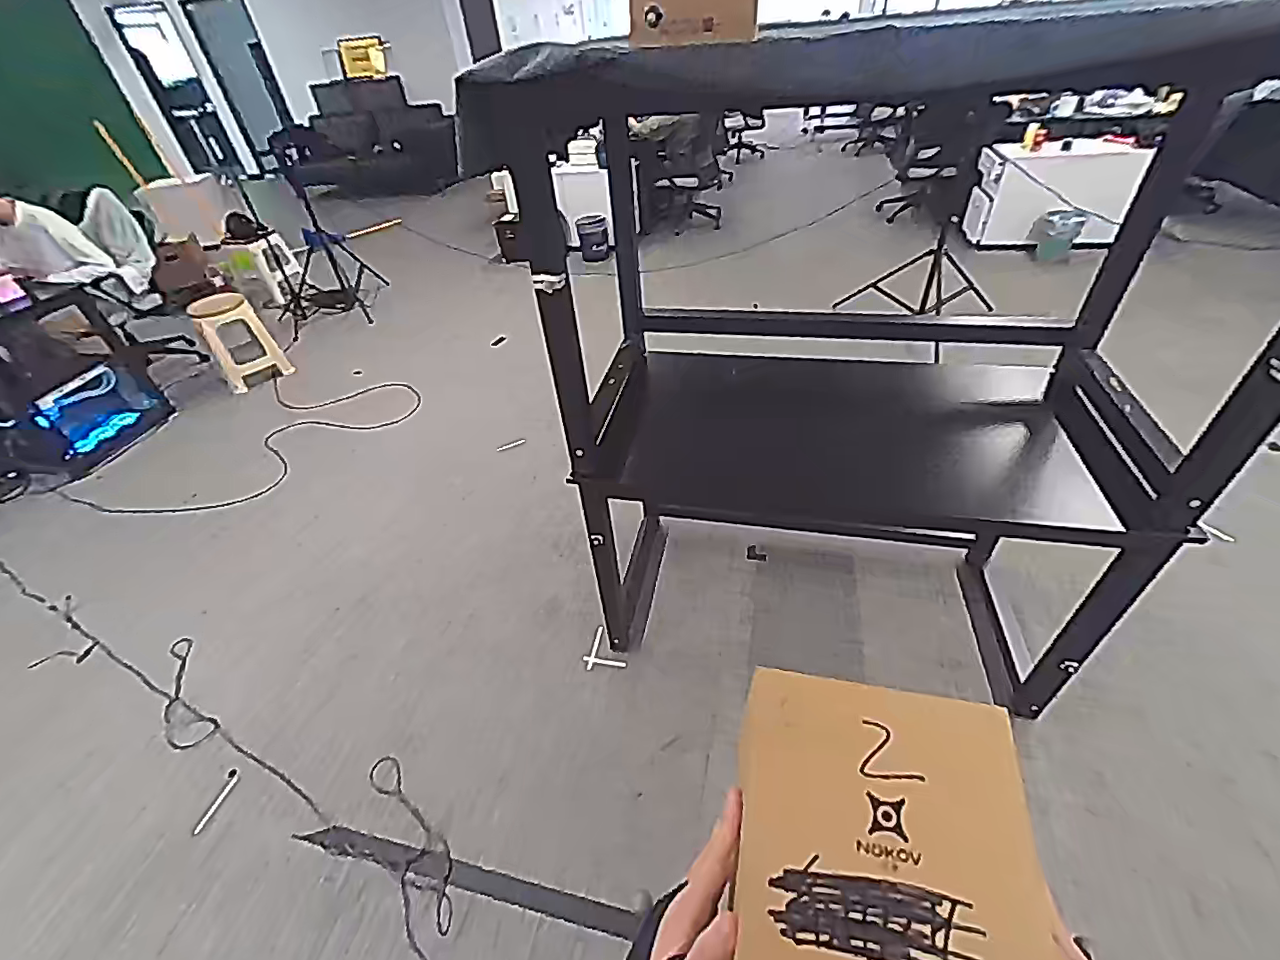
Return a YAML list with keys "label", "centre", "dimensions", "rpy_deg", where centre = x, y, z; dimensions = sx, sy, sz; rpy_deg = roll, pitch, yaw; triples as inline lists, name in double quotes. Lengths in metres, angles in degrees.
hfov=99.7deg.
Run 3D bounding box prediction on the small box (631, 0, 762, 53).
- label: "small box"
  centre: [0.079, -0.678, 0.714]
  dimensions: [0.168, 0.176, 0.179]
  rpy_deg: [5, 40, 10]
